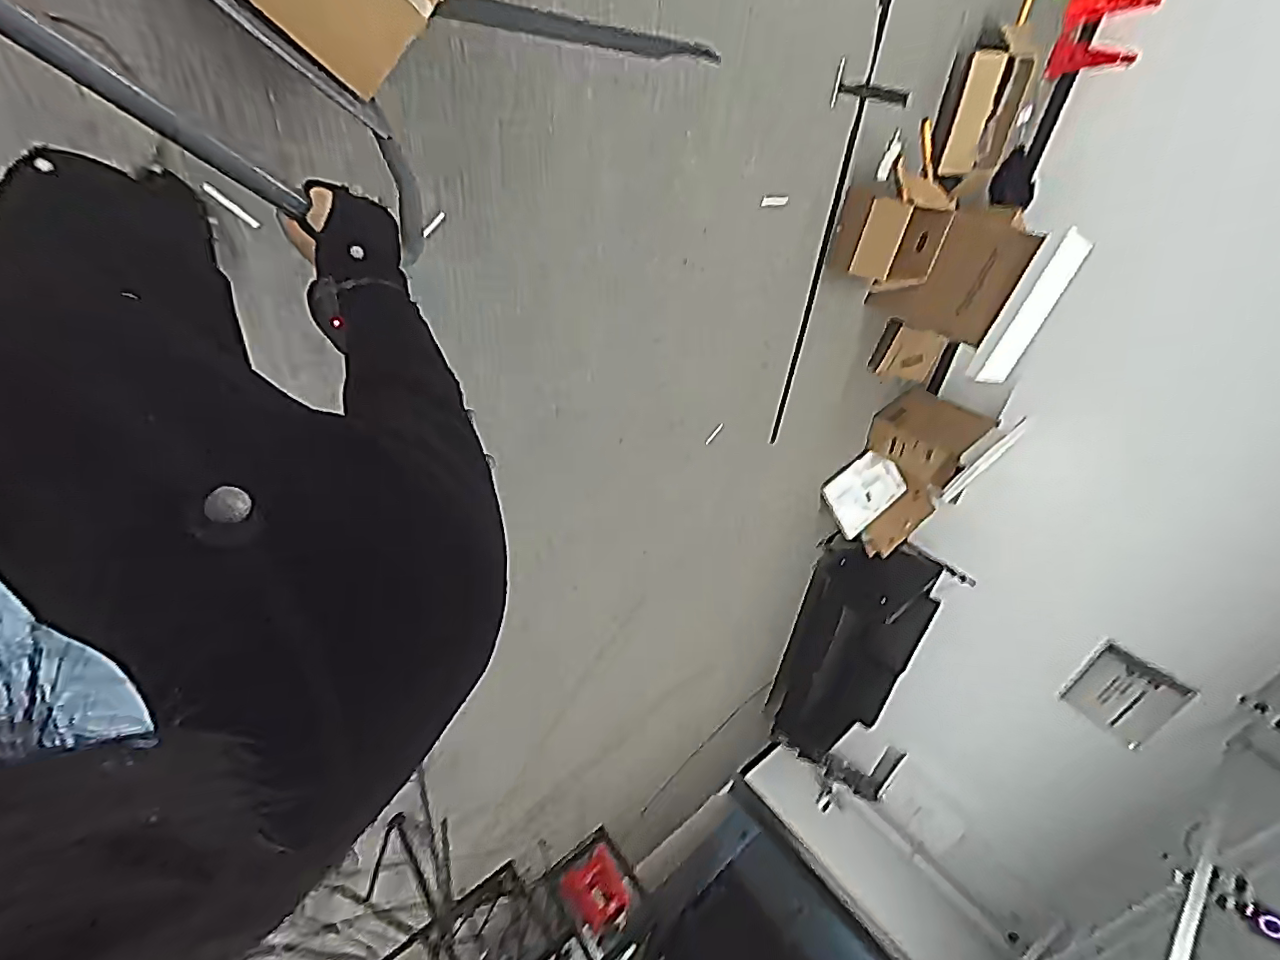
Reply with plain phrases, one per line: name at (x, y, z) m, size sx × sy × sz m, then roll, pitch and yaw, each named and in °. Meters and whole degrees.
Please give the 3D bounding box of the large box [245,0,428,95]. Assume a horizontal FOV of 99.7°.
large box at (-0.496, -0.833, 0.703) m, size 0.320 × 0.320 × 0.408 m, roll -44°, pitch 146°, yaw 14°
